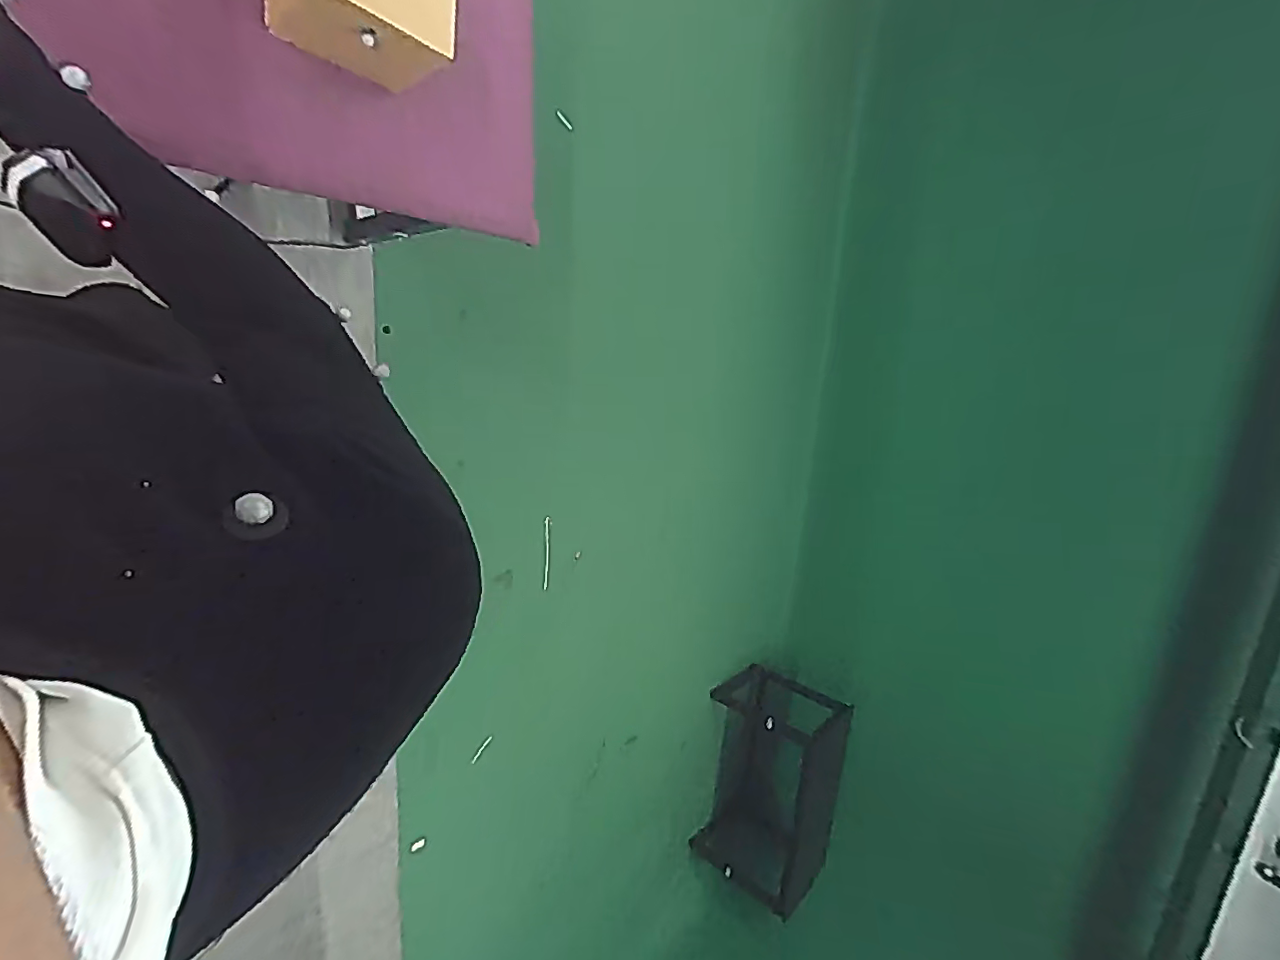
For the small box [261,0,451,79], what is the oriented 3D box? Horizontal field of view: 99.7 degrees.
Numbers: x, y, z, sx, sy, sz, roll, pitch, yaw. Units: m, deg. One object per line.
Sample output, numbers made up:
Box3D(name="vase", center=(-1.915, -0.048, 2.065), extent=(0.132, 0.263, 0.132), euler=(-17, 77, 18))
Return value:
Box3D(name="small box", center=(-0.369, -0.666, 0.710), extent=(0.179, 0.176, 0.168), euler=(-6, 106, -49))
